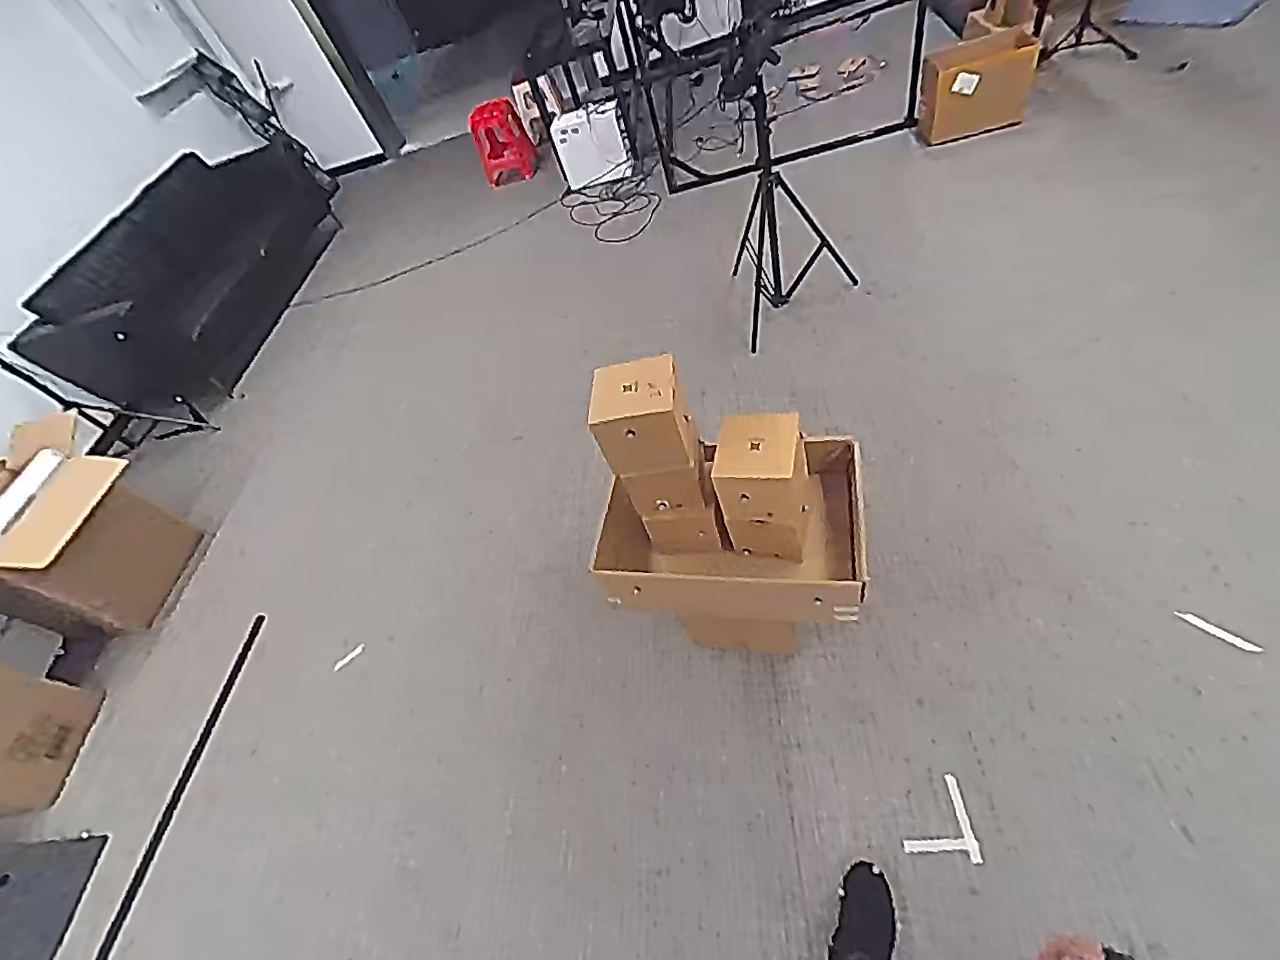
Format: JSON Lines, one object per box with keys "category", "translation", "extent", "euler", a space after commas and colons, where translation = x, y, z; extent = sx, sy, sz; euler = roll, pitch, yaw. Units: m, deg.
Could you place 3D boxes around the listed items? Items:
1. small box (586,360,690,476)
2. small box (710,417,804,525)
{"category": "small box", "translation": [0.003, -0.124, 1.142], "extent": [0.179, 0.176, 0.168], "euler": [-8, 51, 14]}
{"category": "small box", "translation": [0.263, -0.015, 1.179], "extent": [0.168, 0.176, 0.179], "euler": [0, 53, 23]}
